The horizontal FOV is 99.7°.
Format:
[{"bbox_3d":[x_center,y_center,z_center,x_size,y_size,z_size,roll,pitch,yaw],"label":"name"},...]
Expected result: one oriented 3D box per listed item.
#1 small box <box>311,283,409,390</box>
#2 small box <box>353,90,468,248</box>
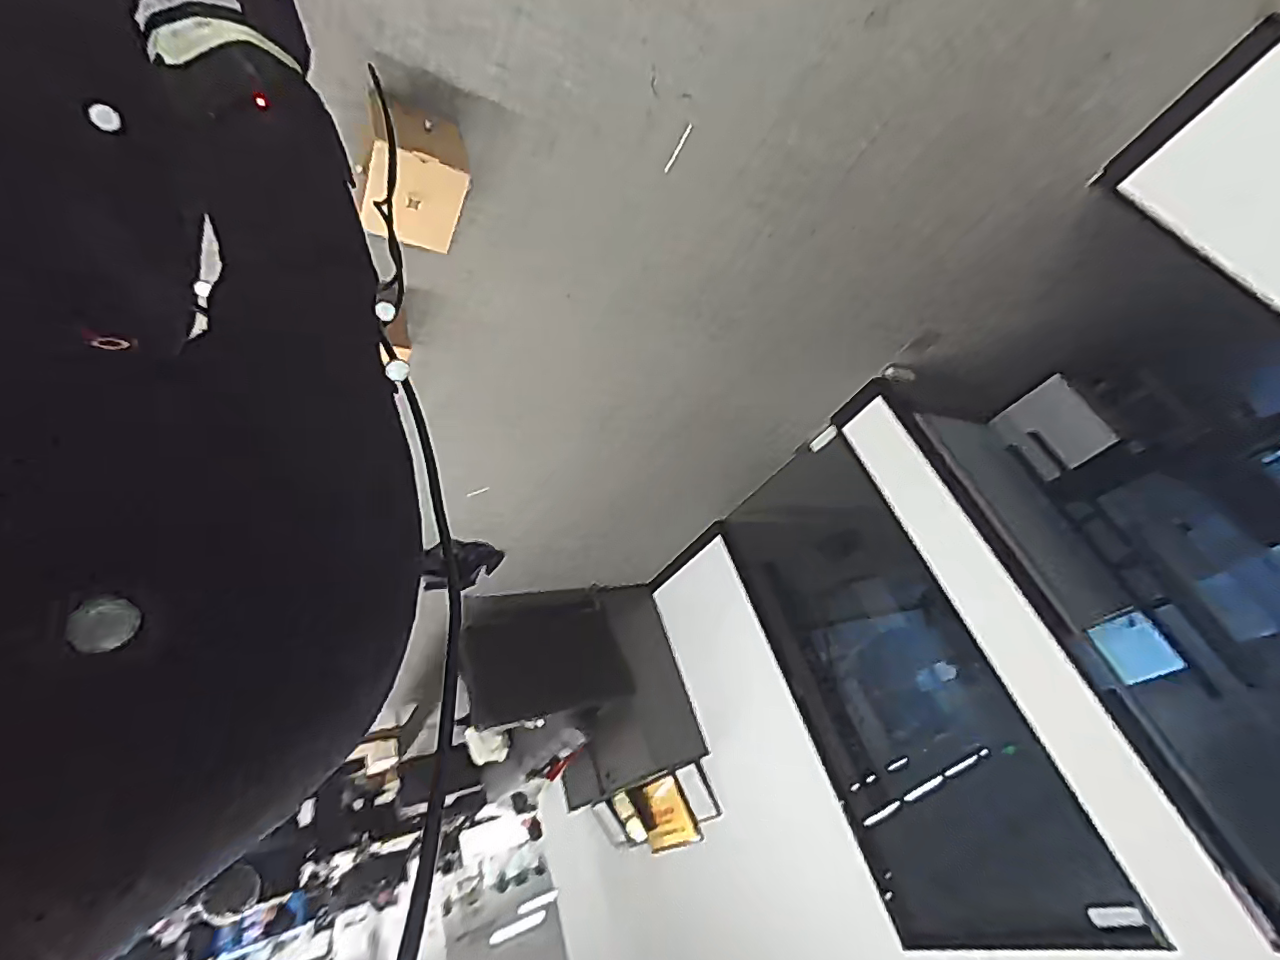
[{"bbox_3d":[-0.679,-0.345,1.302,0.179,0.176,0.168,5,144,-40],"label":"small box"},{"bbox_3d":[-0.445,-0.589,1.035,0.168,0.176,0.179,3,143,-36],"label":"small box"}]
